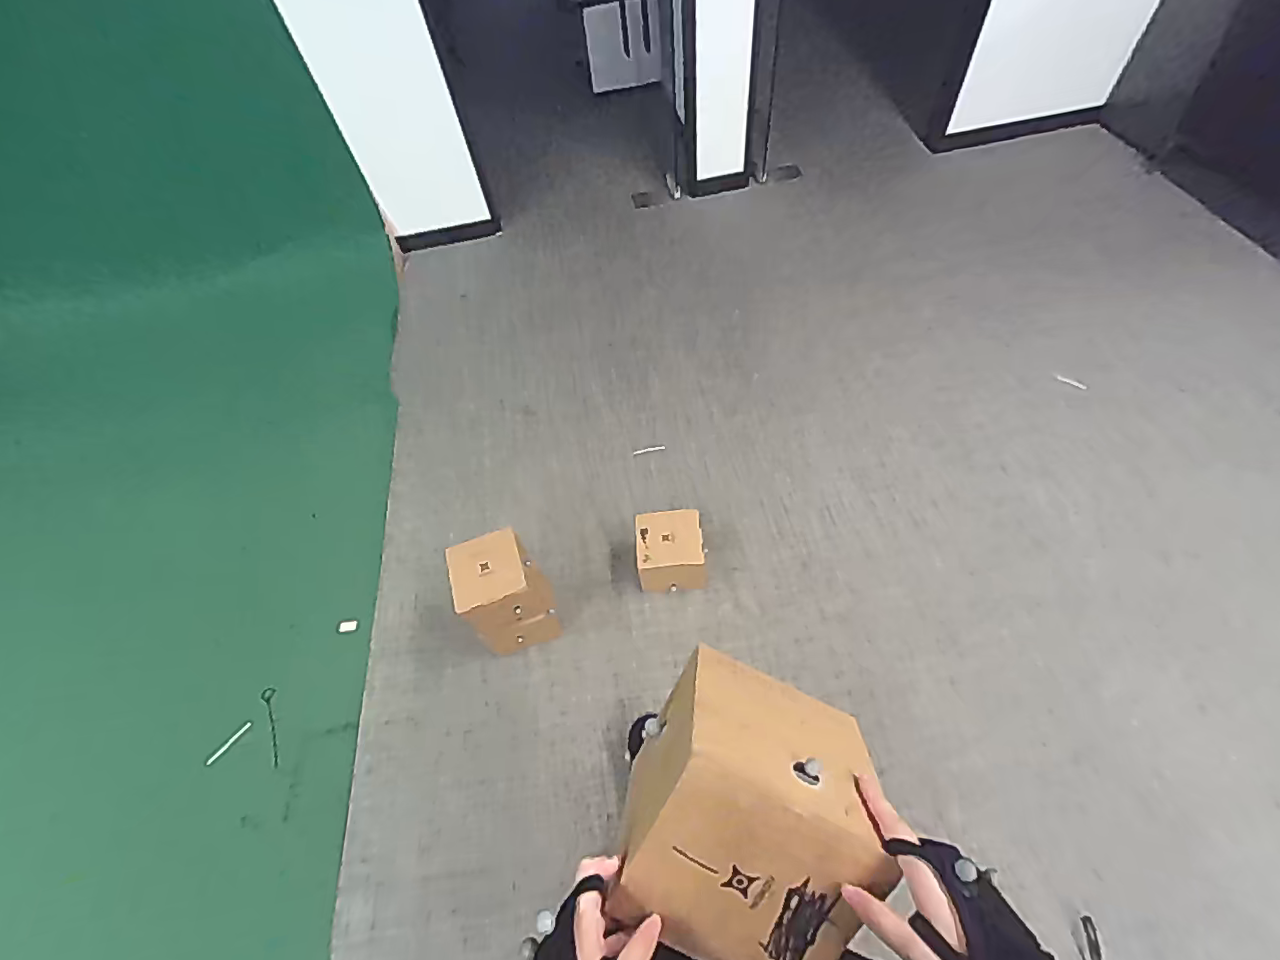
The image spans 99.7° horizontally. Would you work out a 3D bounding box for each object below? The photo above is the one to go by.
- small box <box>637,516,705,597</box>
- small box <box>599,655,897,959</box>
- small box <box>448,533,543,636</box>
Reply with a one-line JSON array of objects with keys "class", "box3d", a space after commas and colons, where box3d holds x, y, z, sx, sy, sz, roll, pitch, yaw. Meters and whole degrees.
[{"class": "small box", "box3d": [0.084, 0.215, 1.497, 0.179, 0.176, 0.168, -4, 55, 3]}, {"class": "small box", "box3d": [0.088, 0.291, 0.490, 0.179, 0.176, 0.168, 26, 103, 3]}, {"class": "small box", "box3d": [-0.347, 0.262, 1.316, 0.168, 0.176, 0.179, -19, 55, -7]}]
